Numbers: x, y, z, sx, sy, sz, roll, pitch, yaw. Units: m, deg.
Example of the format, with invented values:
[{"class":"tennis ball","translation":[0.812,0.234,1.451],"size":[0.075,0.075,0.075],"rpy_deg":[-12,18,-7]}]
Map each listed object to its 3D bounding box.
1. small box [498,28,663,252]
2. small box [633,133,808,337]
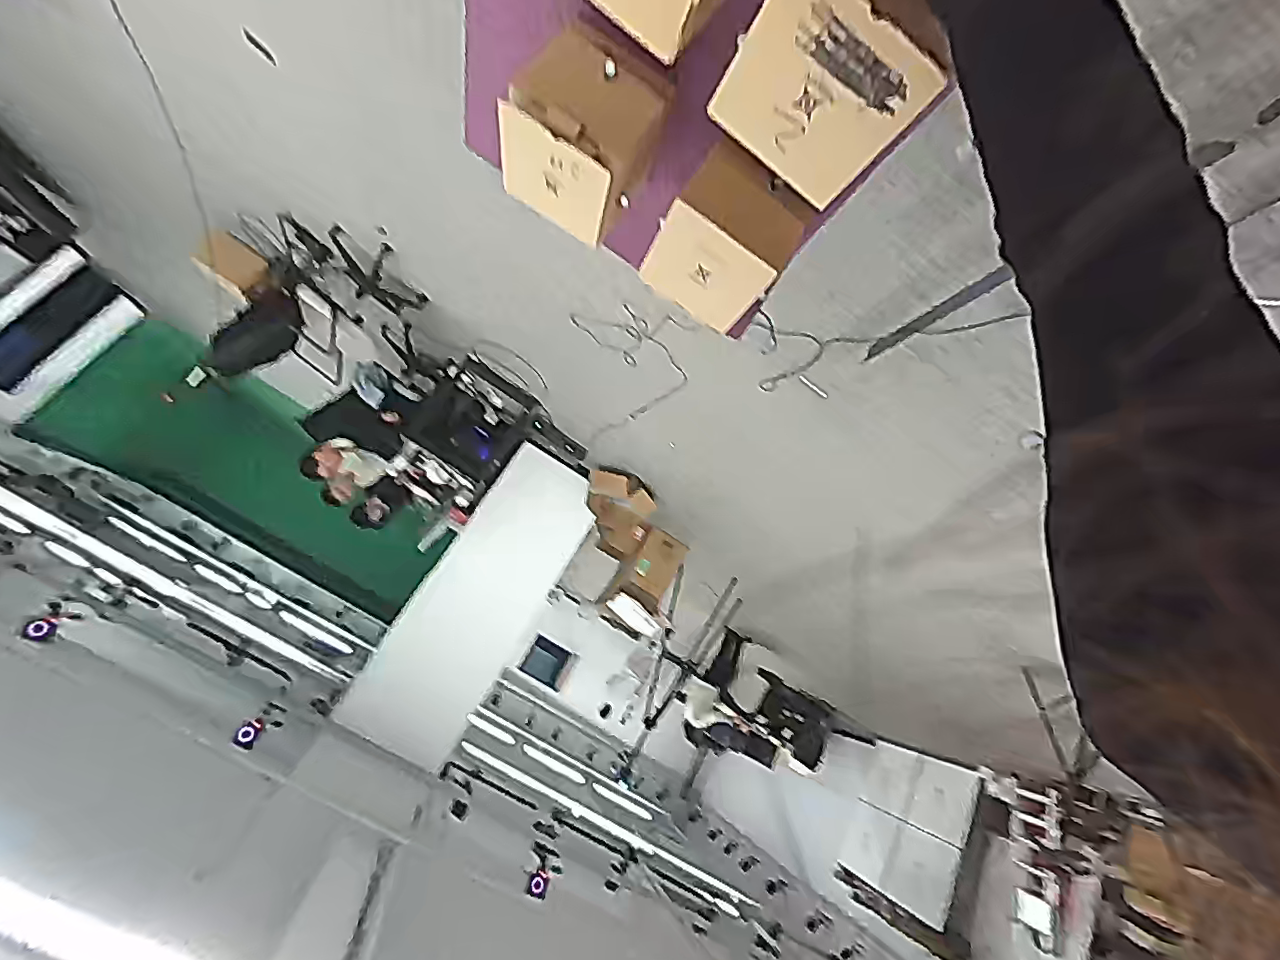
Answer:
[{"class":"small box","translation":[-0.087,-0.481,0.779],"size":[0.168,0.176,0.179],"rpy_deg":[31,159,-6]},{"class":"small box","translation":[0.118,-0.355,0.801],"size":[0.168,0.176,0.179],"rpy_deg":[32,159,-8]}]
